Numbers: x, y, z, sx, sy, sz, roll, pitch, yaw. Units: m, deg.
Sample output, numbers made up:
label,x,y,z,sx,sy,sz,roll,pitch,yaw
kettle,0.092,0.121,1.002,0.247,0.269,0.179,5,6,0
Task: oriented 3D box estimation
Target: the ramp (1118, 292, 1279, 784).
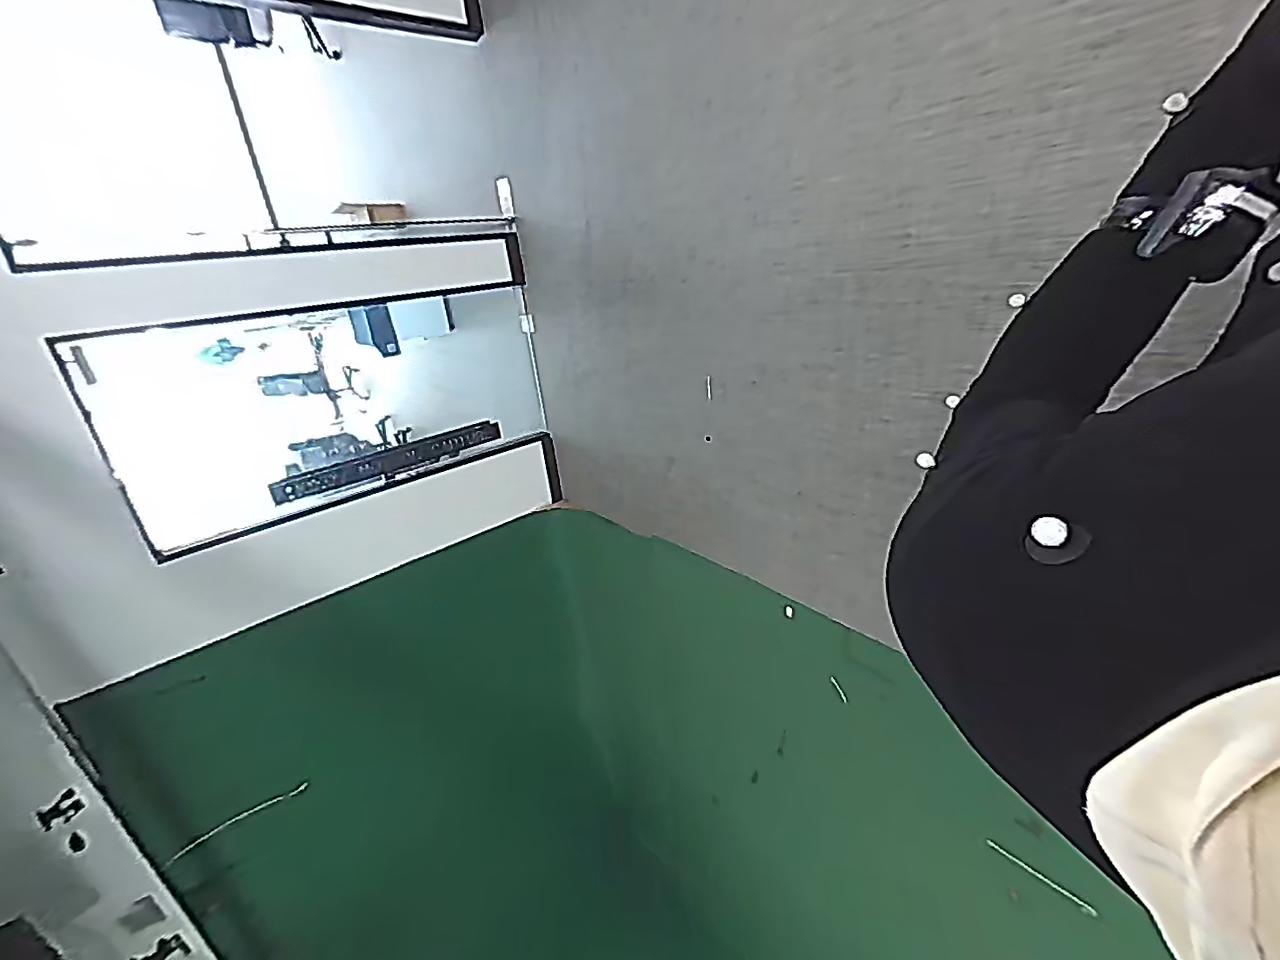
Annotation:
label,x,y,z,sx,sy,sz,roll,pitch,yaw
ramp,1.356,0.156,1.038,0.509,0.206,0.991,18,122,49
